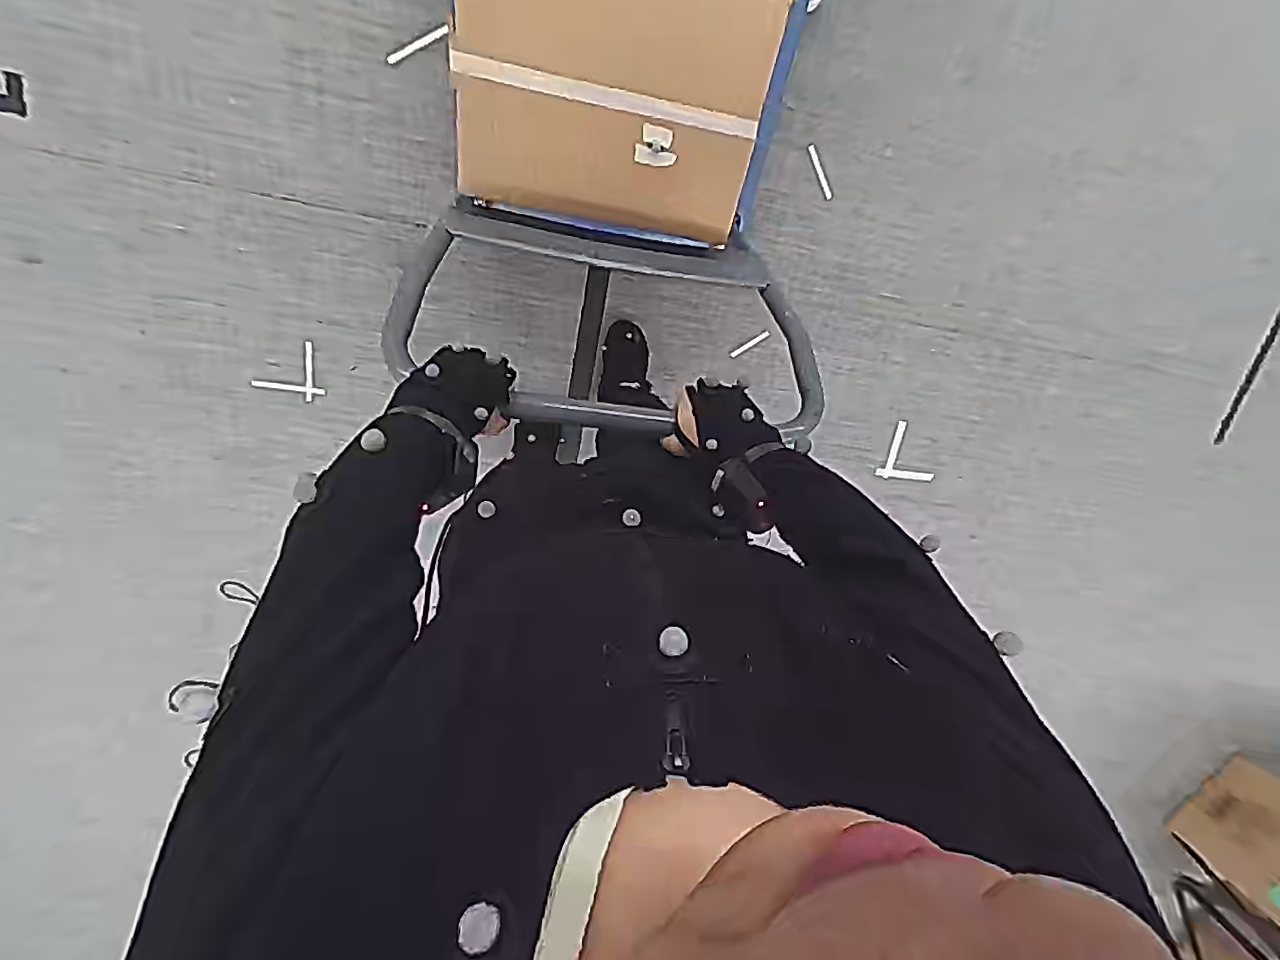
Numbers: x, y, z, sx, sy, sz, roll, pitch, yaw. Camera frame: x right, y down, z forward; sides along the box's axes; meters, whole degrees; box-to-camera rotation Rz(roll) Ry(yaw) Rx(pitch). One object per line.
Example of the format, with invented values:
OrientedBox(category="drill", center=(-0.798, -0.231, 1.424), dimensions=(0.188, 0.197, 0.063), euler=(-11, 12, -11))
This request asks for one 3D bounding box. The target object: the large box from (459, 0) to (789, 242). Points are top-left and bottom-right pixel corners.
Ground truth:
OrientedBox(category="large box", center=(-0.049, -0.597, 0.834), dimensions=(0.408, 0.320, 0.320), euler=(5, 128, -11))
